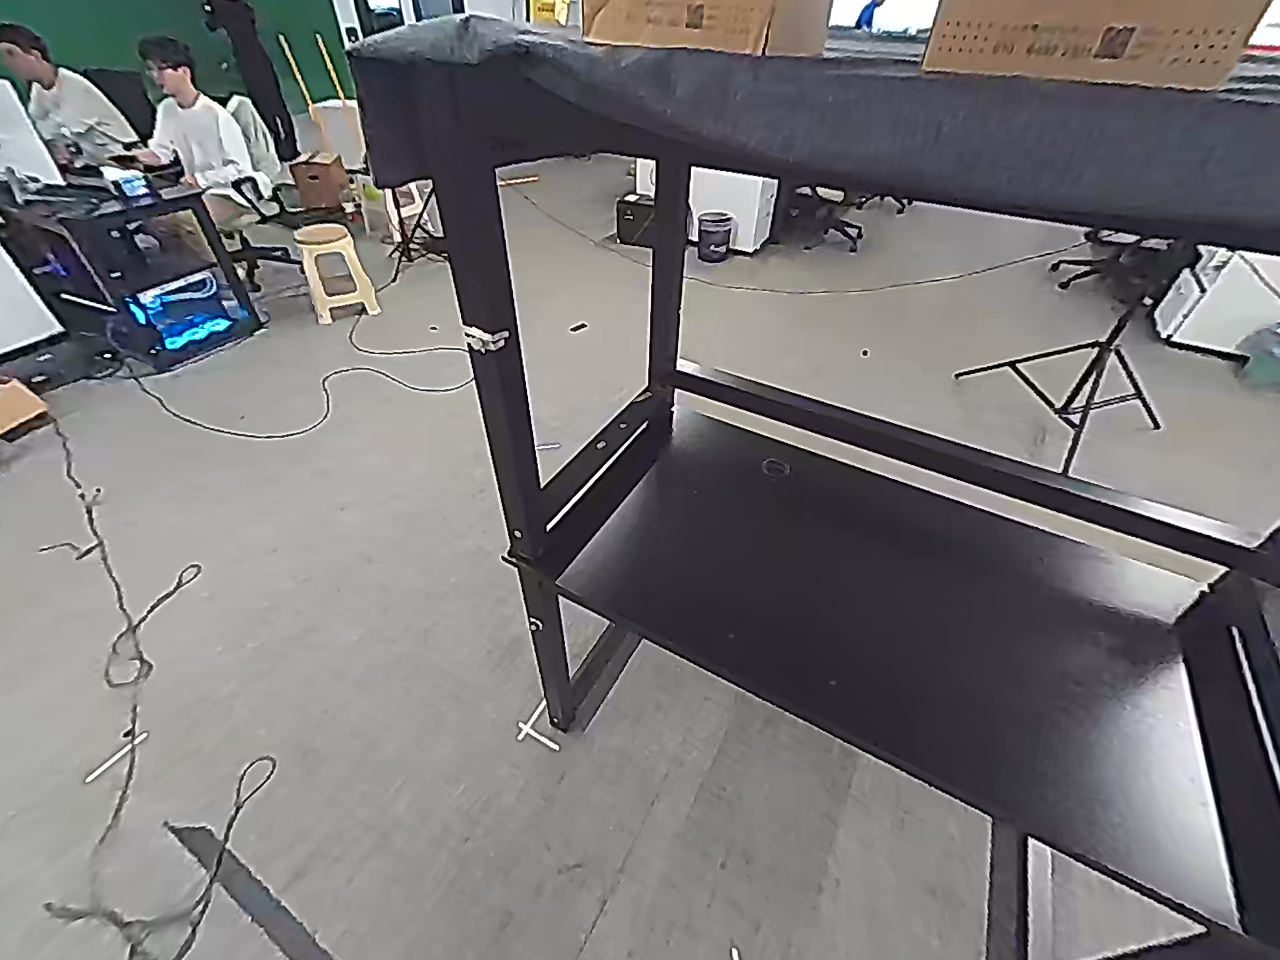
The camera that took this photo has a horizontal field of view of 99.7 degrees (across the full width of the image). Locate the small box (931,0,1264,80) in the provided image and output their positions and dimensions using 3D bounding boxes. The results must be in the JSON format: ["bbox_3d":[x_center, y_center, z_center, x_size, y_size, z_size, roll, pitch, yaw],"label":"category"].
[{"bbox_3d":[0.306,-0.366,0.339,0.168,0.176,0.179,22,44,22],"label":"small box"}]

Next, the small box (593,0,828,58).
[{"bbox_3d":[0.068,-0.457,0.435,0.168,0.176,0.179,22,44,19],"label":"small box"}]
